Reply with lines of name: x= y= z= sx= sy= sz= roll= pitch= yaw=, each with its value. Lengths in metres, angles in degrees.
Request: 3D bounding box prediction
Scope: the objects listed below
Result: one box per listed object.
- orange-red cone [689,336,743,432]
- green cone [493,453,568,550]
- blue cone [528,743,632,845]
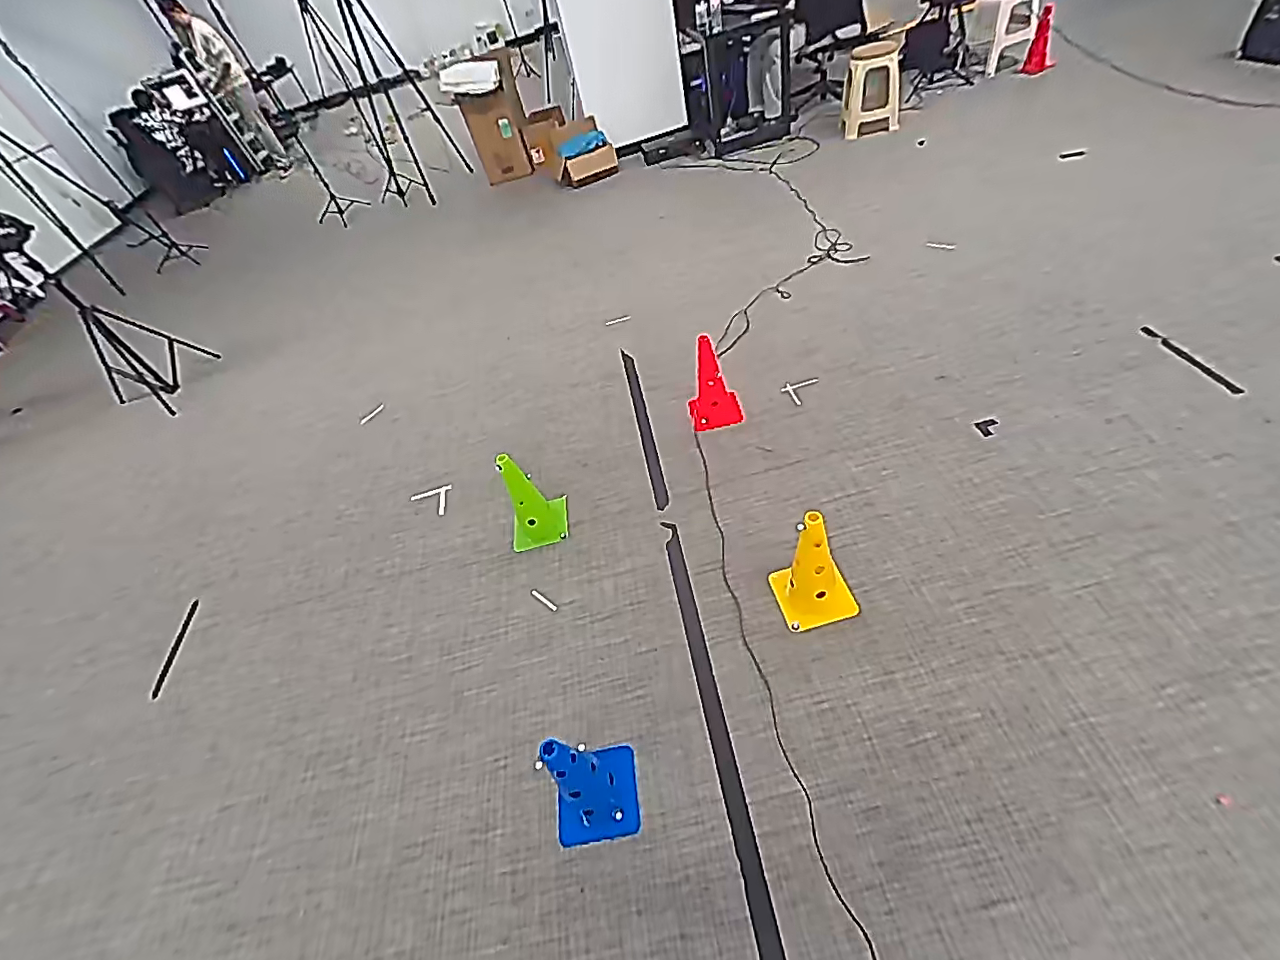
orange-red cone: x=0.266 y=-0.385 z=2.036 sx=0.199 sy=0.360 sz=0.198 roll=-11 pitch=48 yaw=6
green cone: x=-0.400 y=0.040 z=1.838 sx=0.202 sy=0.368 sz=0.200 roll=-16 pitch=46 yaw=4
blue cone: x=-0.153 y=0.662 z=1.207 sx=0.192 sy=0.380 sz=0.193 roll=-13 pitch=46 yaw=6
